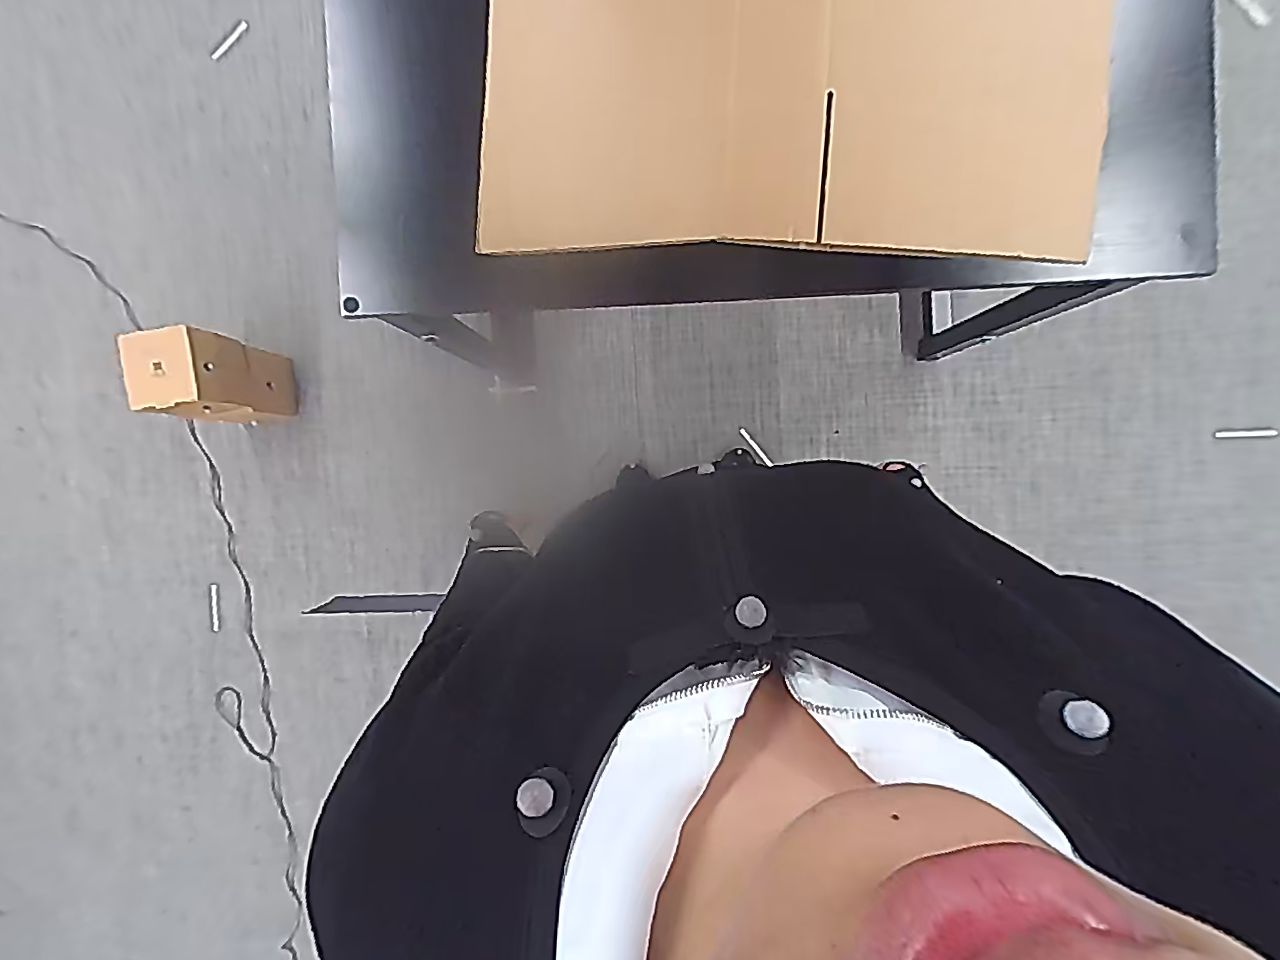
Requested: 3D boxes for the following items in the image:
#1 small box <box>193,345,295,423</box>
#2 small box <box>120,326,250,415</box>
[{"bbox_3d":[-1.072,-0.253,1.463,0.168,0.176,0.179,-6,92,3],"label":"small box"},{"bbox_3d":[-1.082,-0.254,1.300,0.168,0.176,0.179,-9,90,2],"label":"small box"}]
